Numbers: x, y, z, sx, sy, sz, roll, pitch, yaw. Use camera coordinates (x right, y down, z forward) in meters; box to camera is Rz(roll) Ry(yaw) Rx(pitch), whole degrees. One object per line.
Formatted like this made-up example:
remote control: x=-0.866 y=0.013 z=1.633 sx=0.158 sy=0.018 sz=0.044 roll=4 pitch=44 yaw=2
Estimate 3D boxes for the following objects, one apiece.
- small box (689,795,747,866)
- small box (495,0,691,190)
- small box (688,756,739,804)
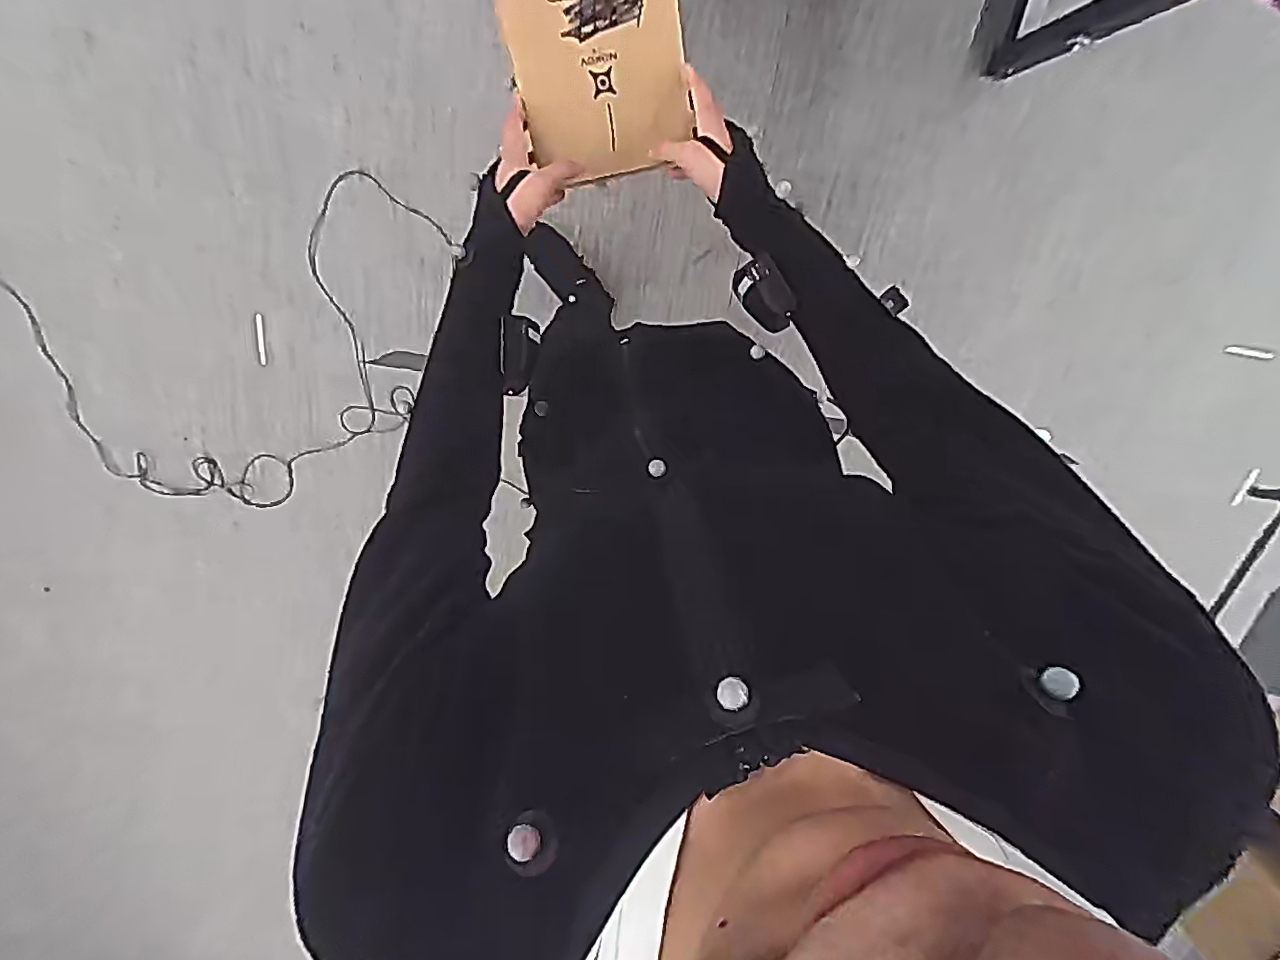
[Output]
small box: x=0.289 y=1.321 z=2.041 sx=0.179 sy=0.176 sz=0.168 roll=2 pitch=114 yaw=-5
small box: x=-0.054 y=-0.426 z=0.584 sx=0.168 sy=0.176 sz=0.179 roll=-14 pitch=119 yaw=-4
small box: x=0.294 y=1.252 z=2.191 sx=0.168 sy=0.176 sz=0.179 roll=3 pitch=113 yaw=-5
